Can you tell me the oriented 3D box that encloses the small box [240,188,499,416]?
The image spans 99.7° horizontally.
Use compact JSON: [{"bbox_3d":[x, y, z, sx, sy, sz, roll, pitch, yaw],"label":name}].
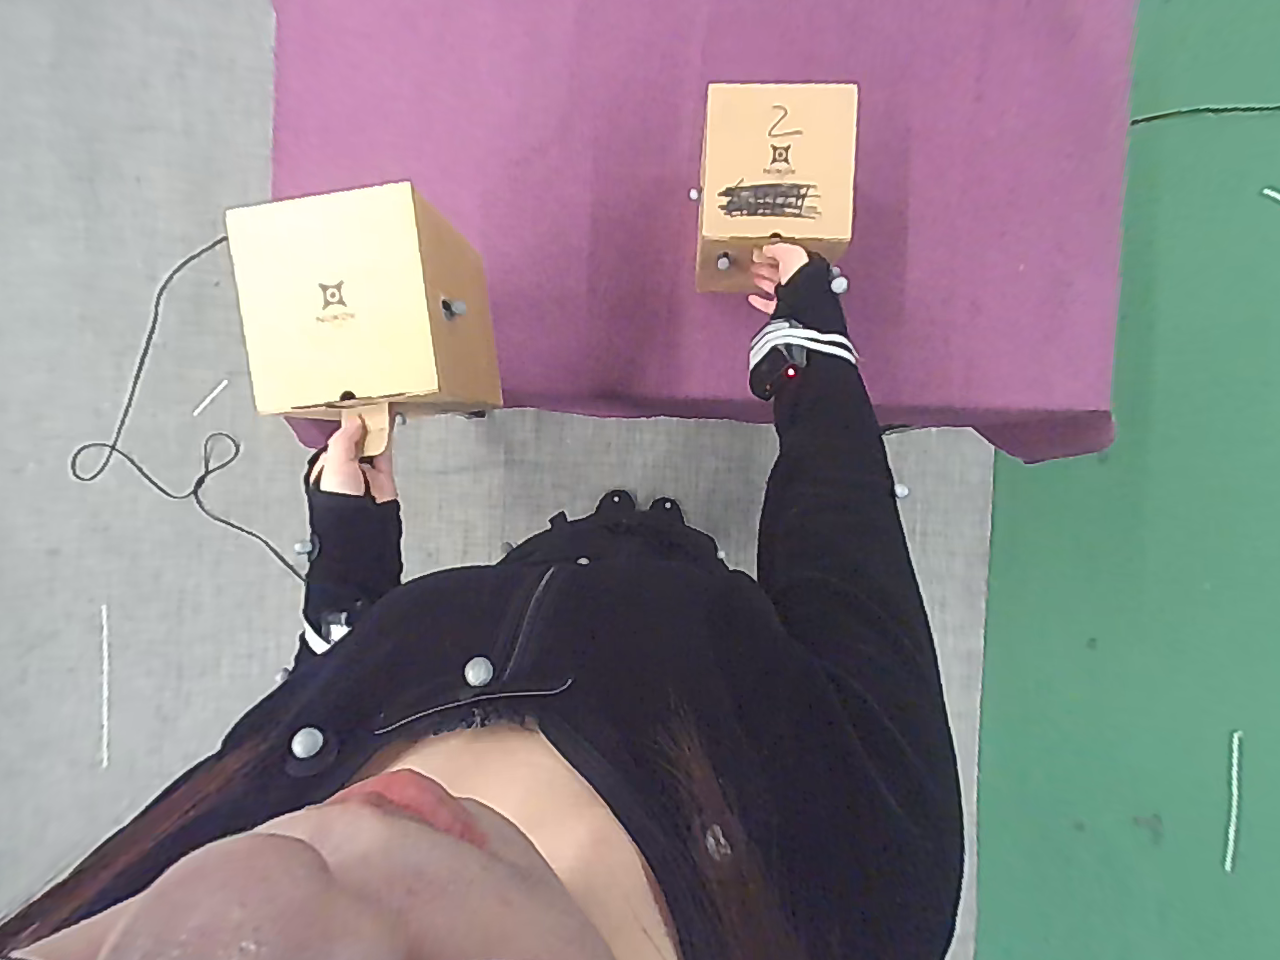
[{"bbox_3d":[-0.257,-0.164,0.553,0.168,0.176,0.179,-6,94,4],"label":"small box"}]
